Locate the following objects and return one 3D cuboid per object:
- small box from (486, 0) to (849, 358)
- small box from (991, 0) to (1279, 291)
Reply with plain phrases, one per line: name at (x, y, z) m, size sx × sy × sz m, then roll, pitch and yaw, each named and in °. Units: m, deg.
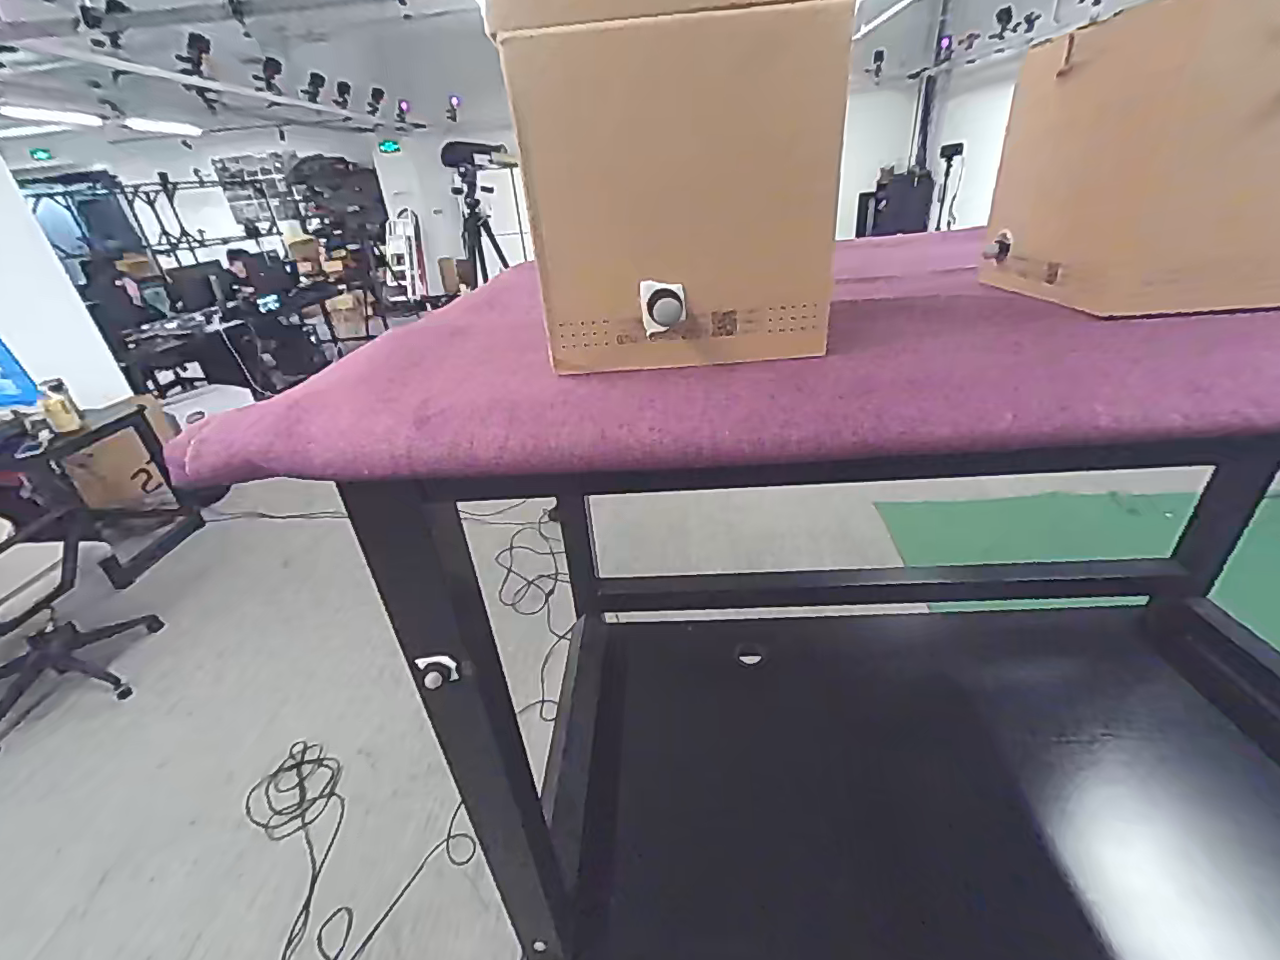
small box at (0.016, -0.187, 0.349) m, size 0.168 × 0.176 × 0.179 m, roll -6°, pitch 31°, yaw 1°
small box at (0.365, -0.225, 0.356) m, size 0.179 × 0.176 × 0.168 m, roll -2°, pitch 28°, yaw 4°
